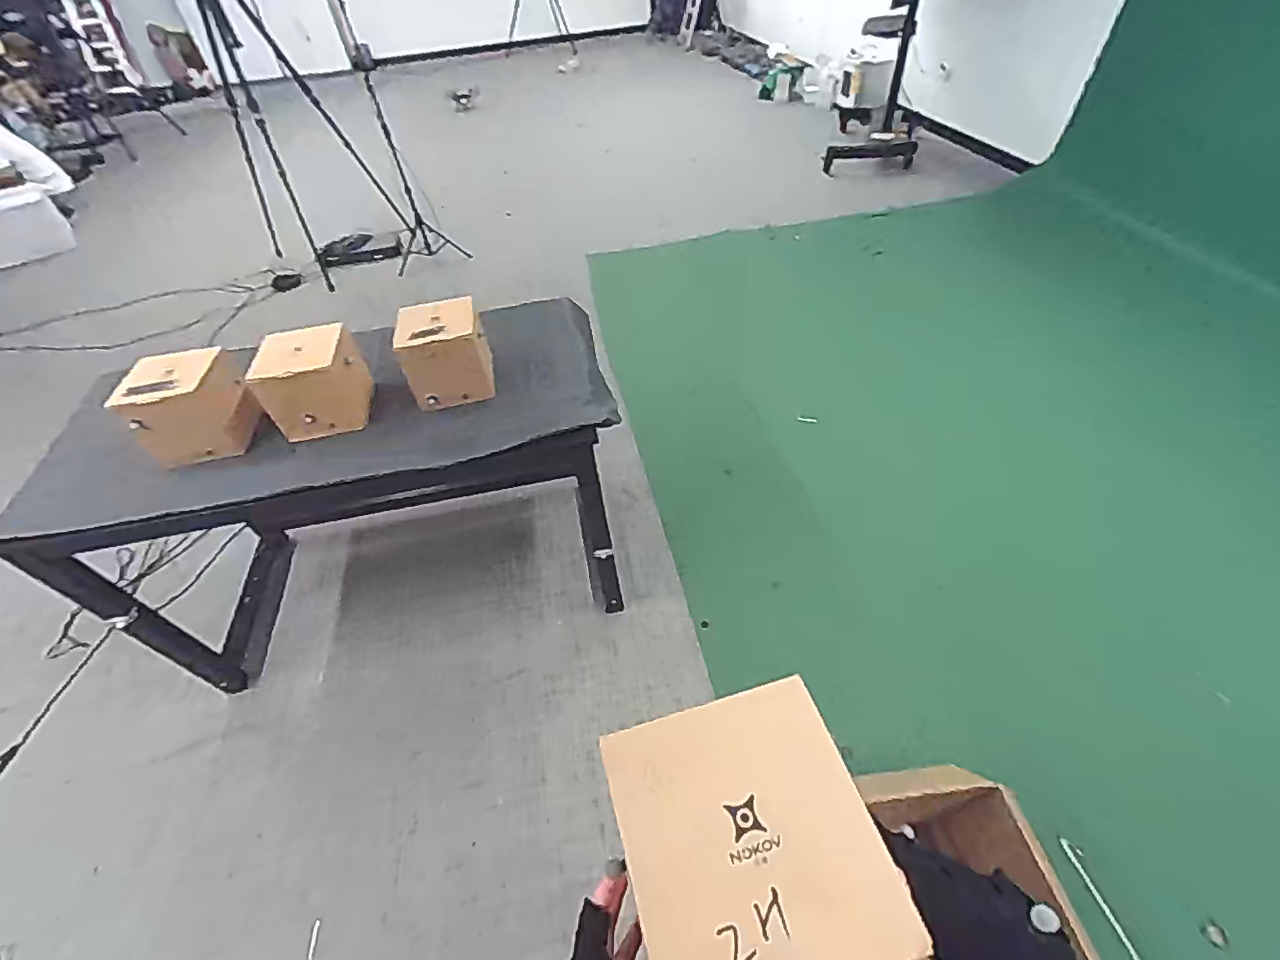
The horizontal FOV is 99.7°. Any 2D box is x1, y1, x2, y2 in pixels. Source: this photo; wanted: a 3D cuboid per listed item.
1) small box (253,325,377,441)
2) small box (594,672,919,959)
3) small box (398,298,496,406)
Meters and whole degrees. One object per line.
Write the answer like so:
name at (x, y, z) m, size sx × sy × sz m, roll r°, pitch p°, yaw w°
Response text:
small box at (-0.701, -0.213, 1.192) m, size 0.168 × 0.176 × 0.179 m, roll -12°, pitch 48°, yaw -6°
small box at (0.066, 0.283, 0.419) m, size 0.168 × 0.176 × 0.179 m, roll -14°, pitch 50°, yaw -9°
small box at (-0.429, -0.283, 1.227) m, size 0.168 × 0.176 × 0.179 m, roll -12°, pitch 46°, yaw -6°
